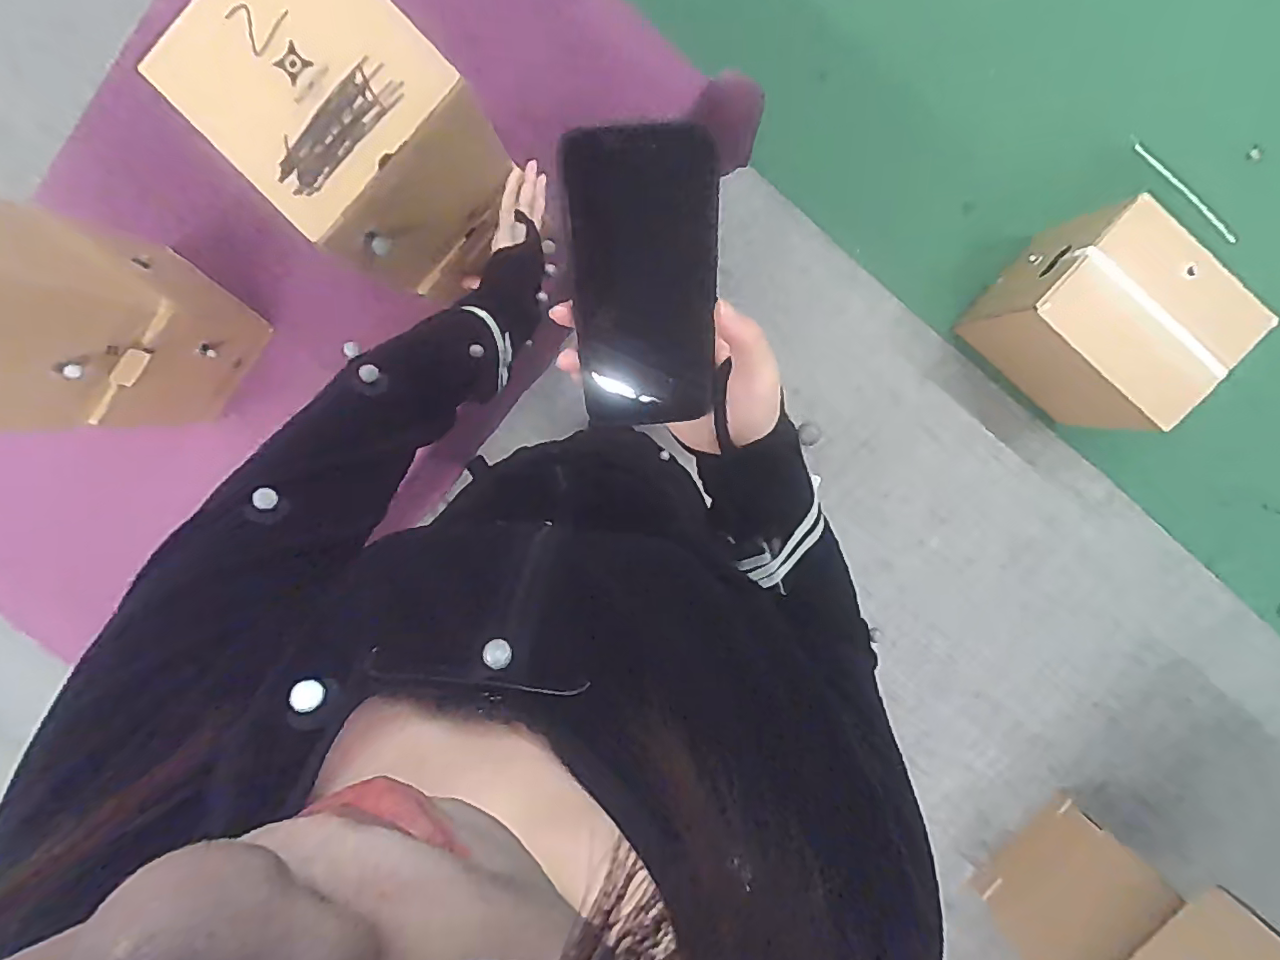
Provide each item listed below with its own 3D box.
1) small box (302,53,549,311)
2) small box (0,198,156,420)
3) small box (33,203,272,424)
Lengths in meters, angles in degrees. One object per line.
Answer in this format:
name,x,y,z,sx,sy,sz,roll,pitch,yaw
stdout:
small box,-0.232,-0.324,0.635,0.179,0.176,0.168,44,96,-5
small box,-0.624,-0.165,0.496,0.179,0.176,0.168,38,96,-4
small box,-0.608,-0.188,0.659,0.179,0.176,0.168,39,96,-4
